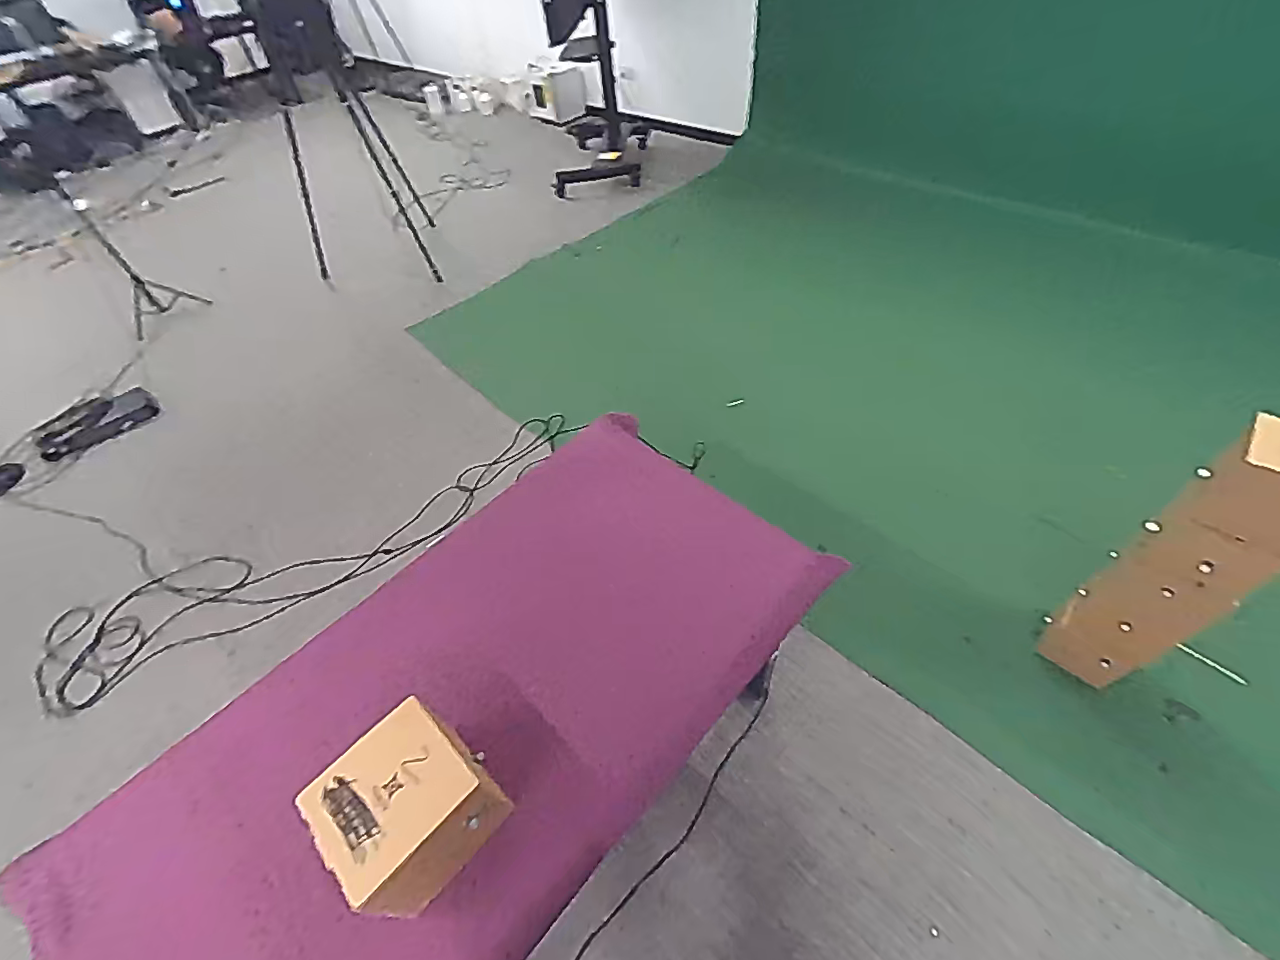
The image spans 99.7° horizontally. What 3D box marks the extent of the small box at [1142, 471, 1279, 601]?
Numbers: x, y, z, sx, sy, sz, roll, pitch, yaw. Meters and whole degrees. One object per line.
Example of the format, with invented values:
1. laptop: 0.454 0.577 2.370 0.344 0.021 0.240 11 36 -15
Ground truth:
1. small box: 1.214 0.121 1.136 0.168 0.176 0.179 32 61 29

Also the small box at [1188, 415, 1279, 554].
1. small box: 1.202 0.015 1.012 0.179 0.176 0.168 32 59 30

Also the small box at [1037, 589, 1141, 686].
1. small box: 1.259 0.444 1.501 0.179 0.176 0.168 34 61 30

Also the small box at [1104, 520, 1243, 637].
1. small box: 1.234 0.232 1.255 0.179 0.176 0.168 30 60 28

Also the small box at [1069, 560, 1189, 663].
1. small box: 1.250 0.340 1.376 0.179 0.176 0.168 31 60 30
